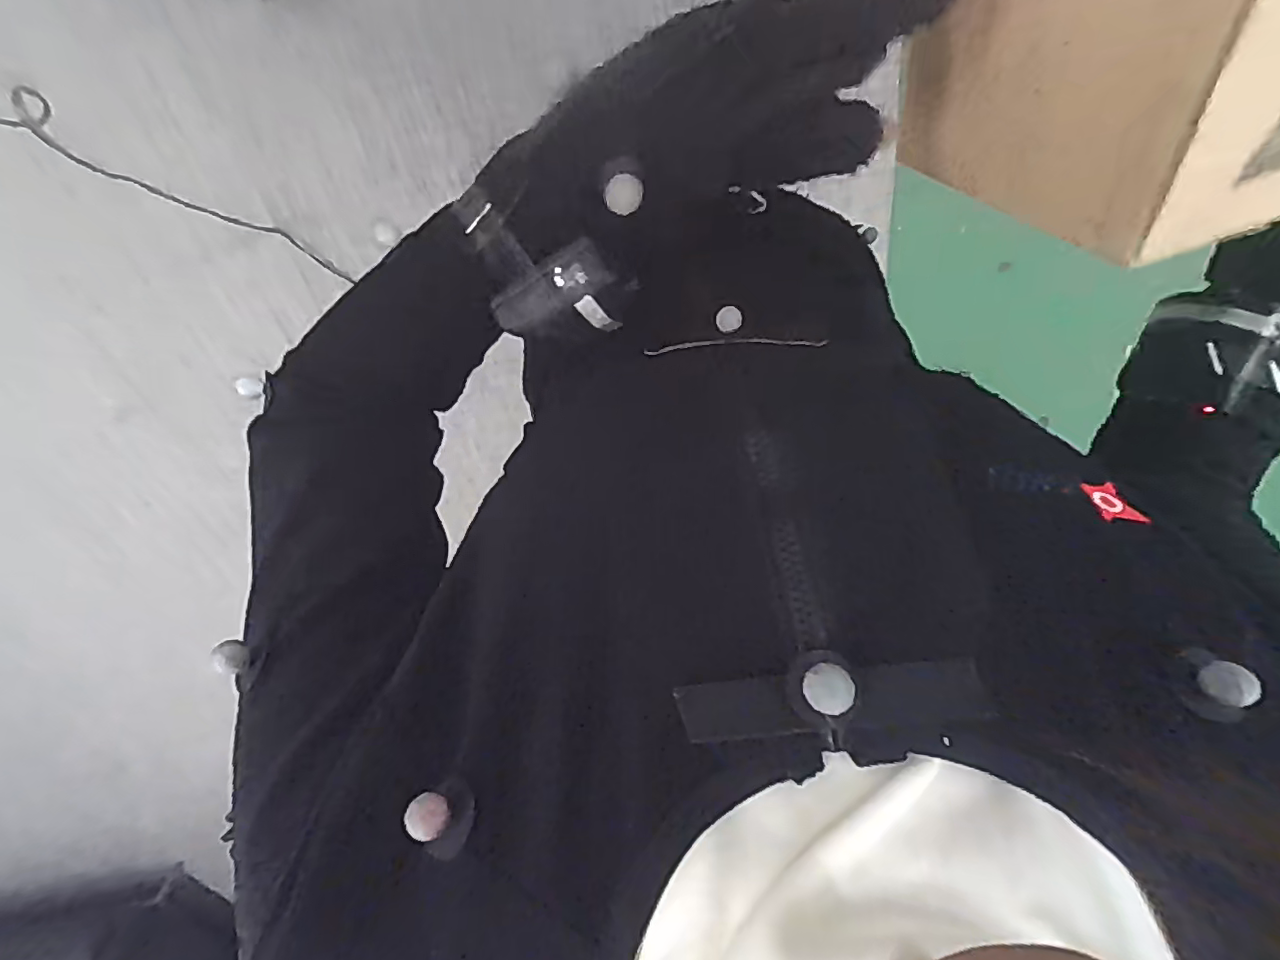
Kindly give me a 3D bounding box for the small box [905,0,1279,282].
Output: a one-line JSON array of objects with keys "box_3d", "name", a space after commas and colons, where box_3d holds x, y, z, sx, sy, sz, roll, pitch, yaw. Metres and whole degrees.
[{"box_3d": [0.236, -0.215, 0.221, 0.168, 0.176, 0.179, -17, 133, 0], "name": "small box"}]
